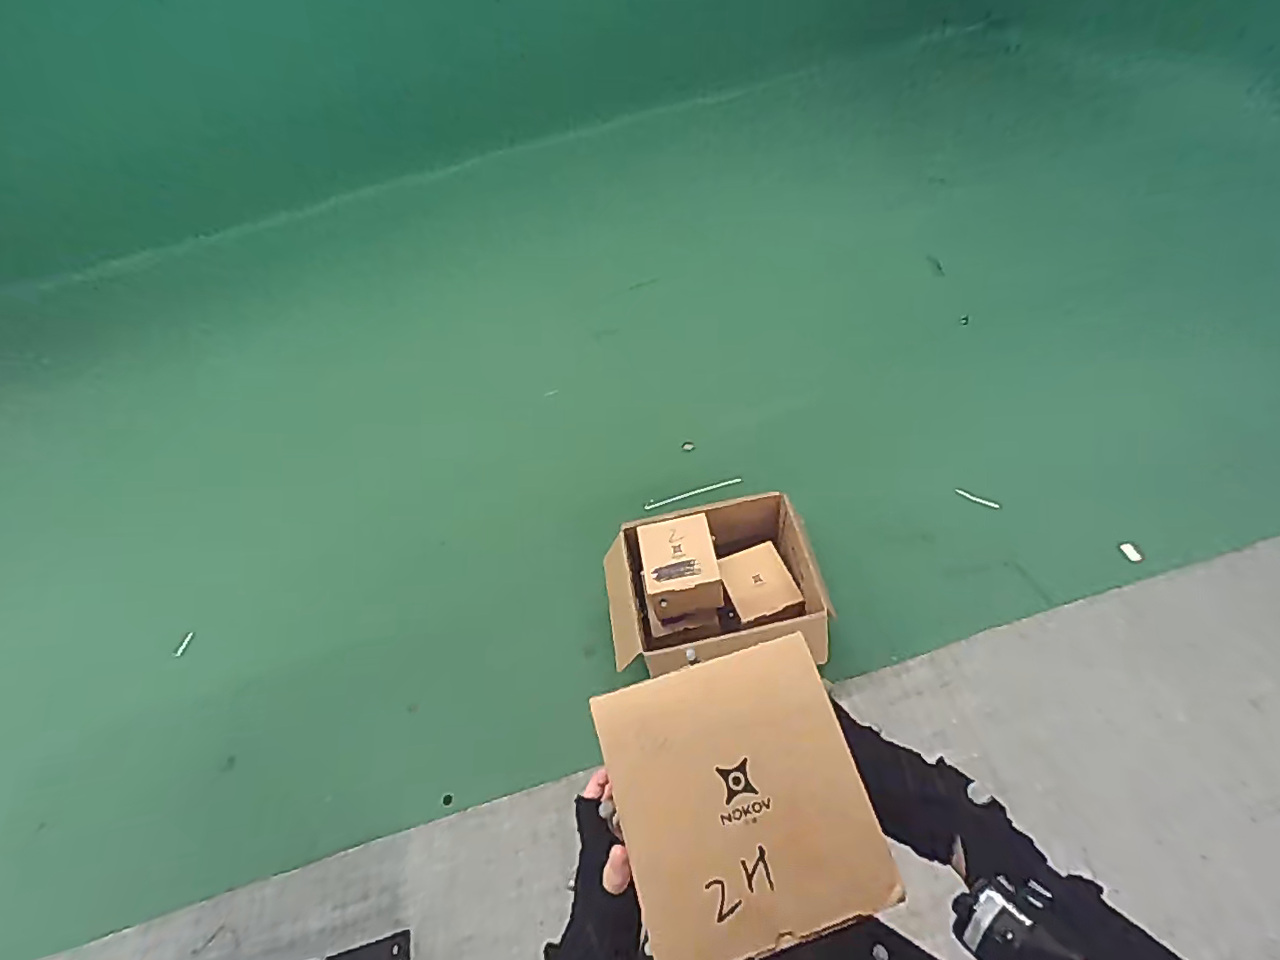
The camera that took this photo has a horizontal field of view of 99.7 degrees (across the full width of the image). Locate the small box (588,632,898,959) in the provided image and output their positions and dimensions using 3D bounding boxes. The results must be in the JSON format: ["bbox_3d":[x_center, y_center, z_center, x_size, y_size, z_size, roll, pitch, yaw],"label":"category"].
[{"bbox_3d":[0.062,0.241,0.437,0.168,0.176,0.179,-16,69,-5],"label":"small box"}]
